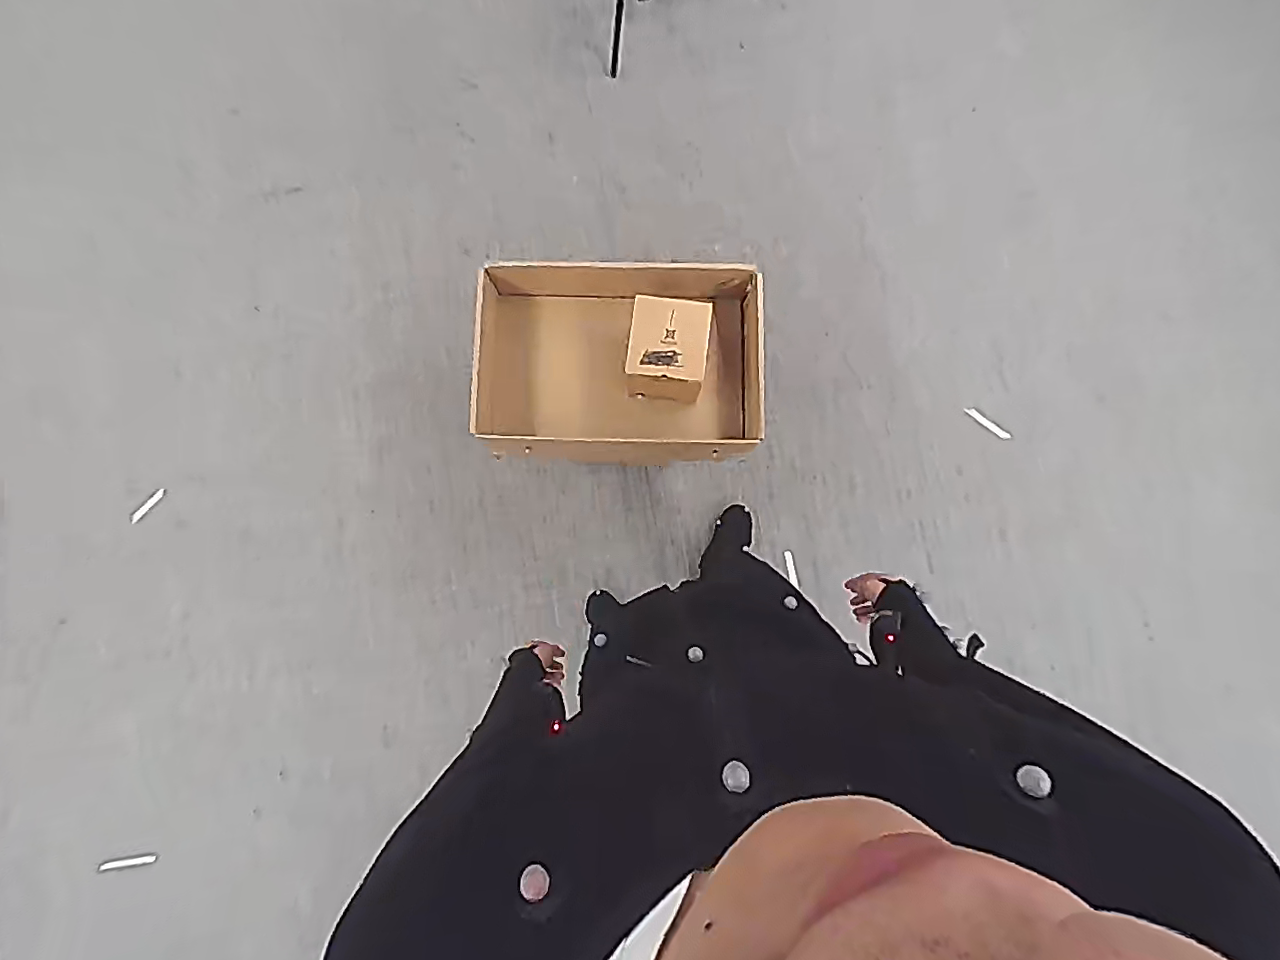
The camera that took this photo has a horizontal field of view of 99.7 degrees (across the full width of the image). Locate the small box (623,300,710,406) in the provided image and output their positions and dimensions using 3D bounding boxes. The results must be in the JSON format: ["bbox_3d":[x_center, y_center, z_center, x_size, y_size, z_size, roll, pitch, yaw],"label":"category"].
[{"bbox_3d":[0.058,-0.273,1.204,0.168,0.176,0.179,7,82,1],"label":"small box"}]
